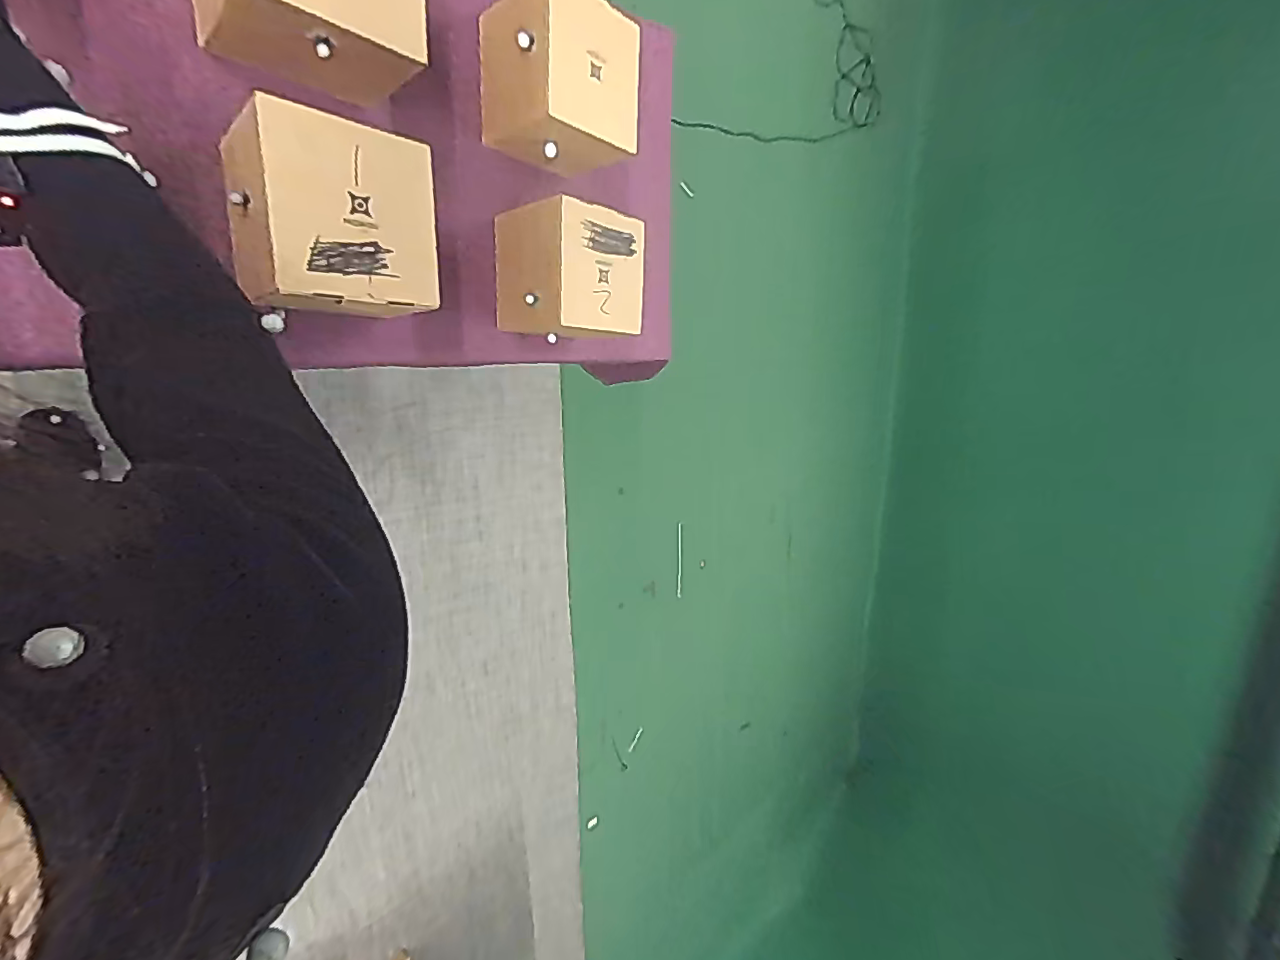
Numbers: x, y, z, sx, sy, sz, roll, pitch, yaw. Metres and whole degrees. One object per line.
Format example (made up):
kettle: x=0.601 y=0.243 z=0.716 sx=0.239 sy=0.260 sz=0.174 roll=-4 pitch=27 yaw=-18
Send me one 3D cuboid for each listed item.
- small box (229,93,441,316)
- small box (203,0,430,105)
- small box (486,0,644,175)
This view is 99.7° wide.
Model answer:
small box: x=-0.344 y=-0.285 z=0.613 sx=0.168 sy=0.176 sz=0.179 roll=-11 pitch=105 yaw=-45
small box: x=-0.342 y=-0.530 z=0.565 sx=0.179 sy=0.176 sz=0.168 roll=-9 pitch=106 yaw=-45
small box: x=-0.112 y=-0.576 z=0.793 sx=0.168 sy=0.176 sz=0.179 roll=-8 pitch=104 yaw=-45
